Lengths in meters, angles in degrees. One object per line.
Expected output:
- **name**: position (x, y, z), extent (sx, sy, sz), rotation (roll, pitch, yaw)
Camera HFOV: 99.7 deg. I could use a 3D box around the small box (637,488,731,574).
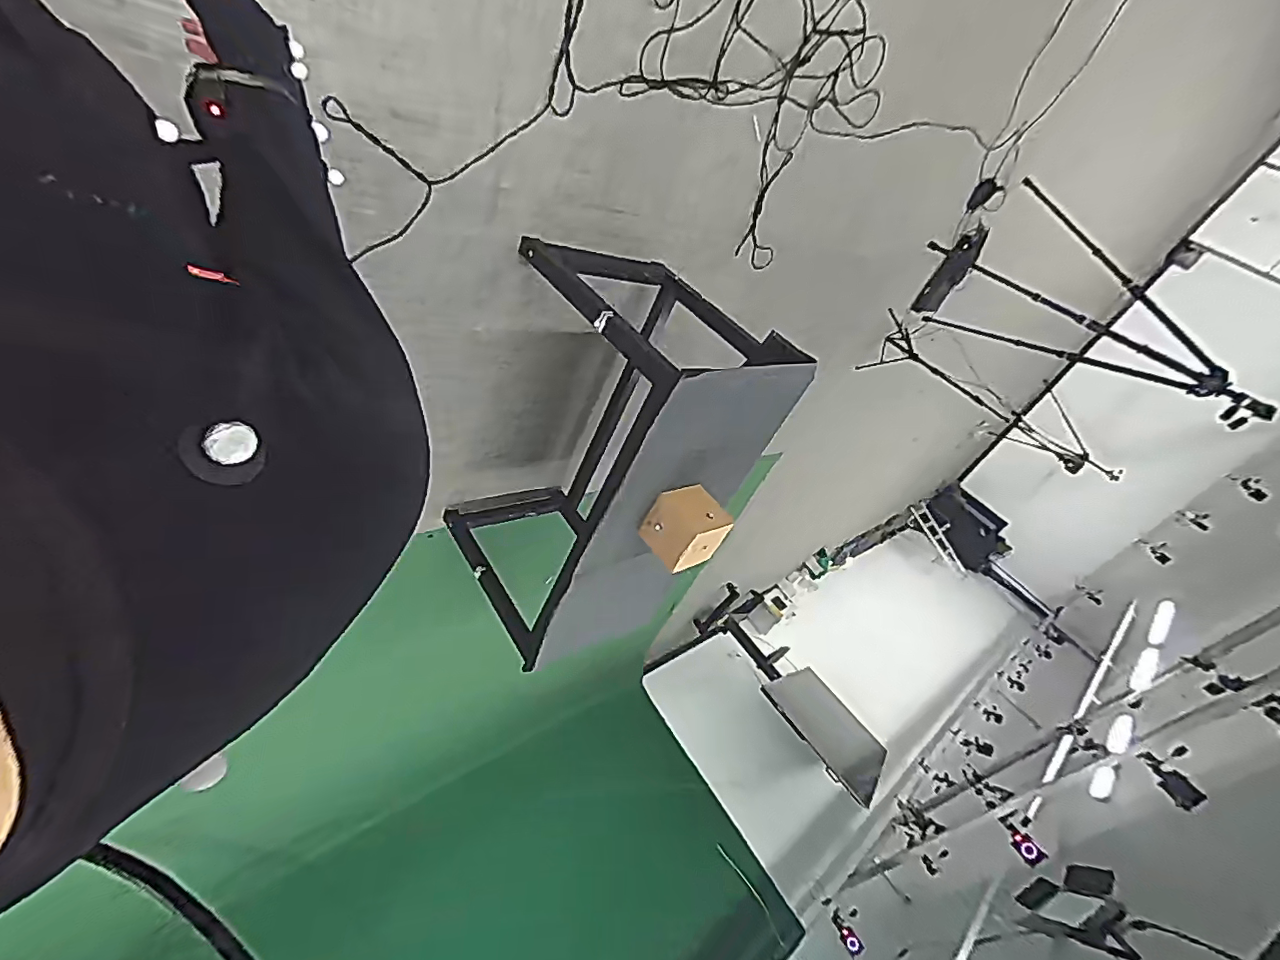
- **small box**: position (0.124, 0.140, 1.576), extent (0.179, 0.176, 0.168), rotation (-11, 139, -43)
